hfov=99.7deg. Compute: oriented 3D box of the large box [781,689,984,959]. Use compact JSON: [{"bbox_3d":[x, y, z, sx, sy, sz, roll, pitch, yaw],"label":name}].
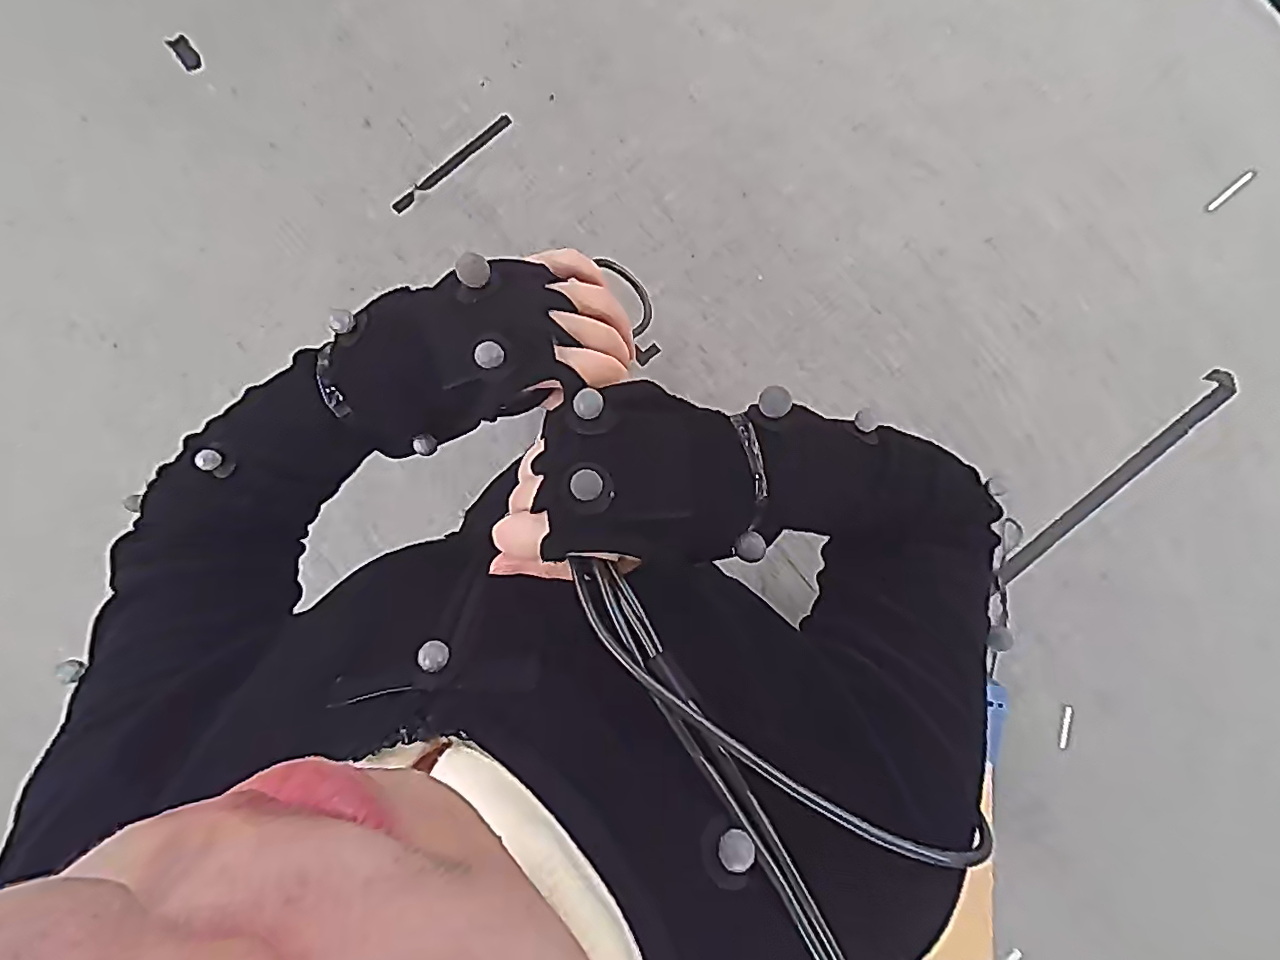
[{"bbox_3d":[0.505,0.717,1.184,0.320,0.320,0.408,-1,92,0],"label":"large box"}]
